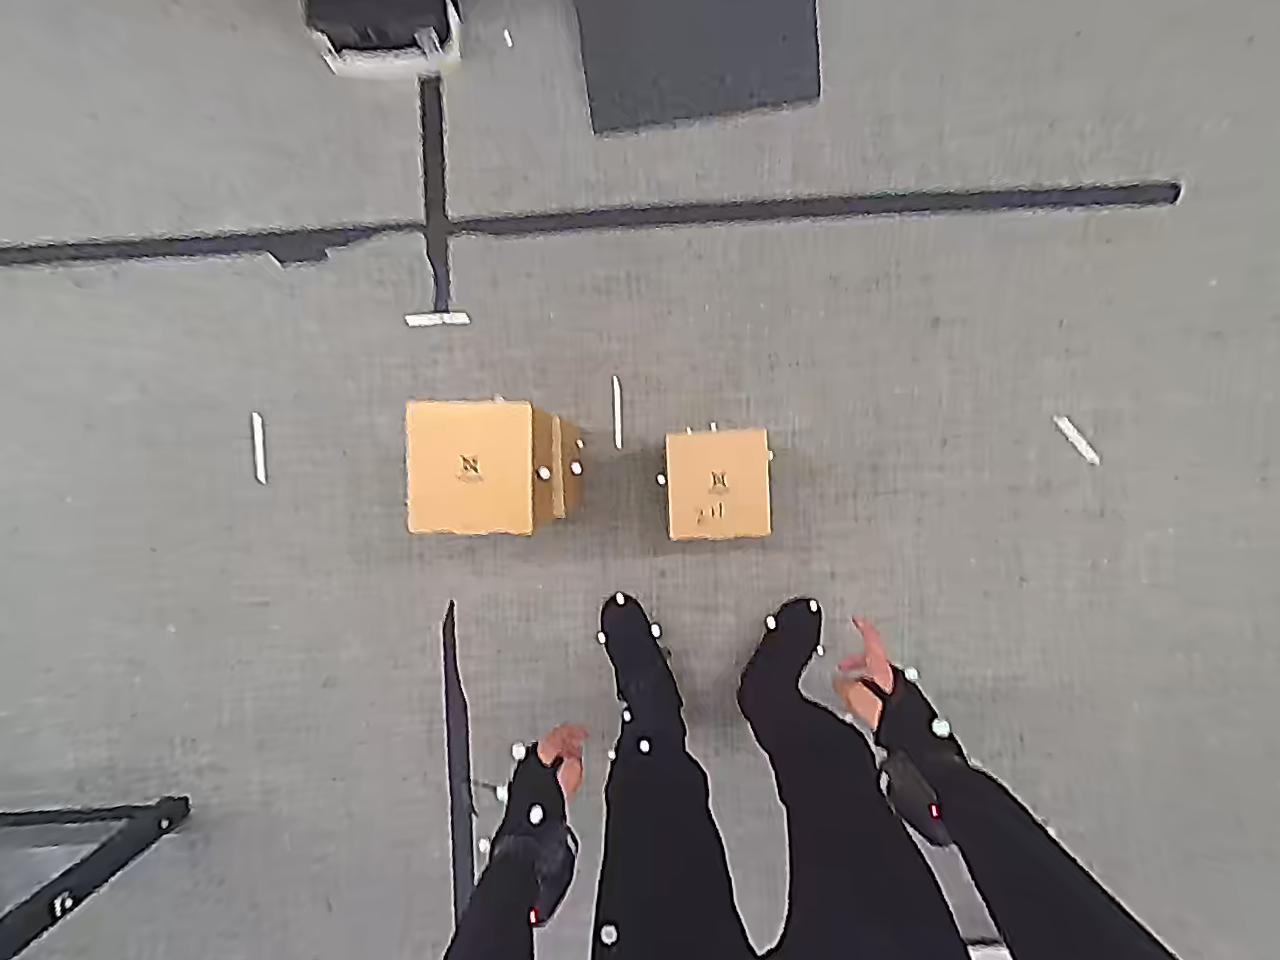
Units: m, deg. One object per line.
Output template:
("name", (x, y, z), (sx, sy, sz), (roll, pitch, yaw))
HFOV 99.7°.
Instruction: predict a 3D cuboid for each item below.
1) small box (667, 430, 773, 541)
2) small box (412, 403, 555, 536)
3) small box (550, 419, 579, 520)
("small box", (0.133, 0.007, 0.953), (0.168, 0.176, 0.179), (-3, 93, 2))
("small box", (-0.219, -0.017, 0.791), (0.168, 0.176, 0.179), (0, 93, 0))
("small box", (-0.207, -0.017, 0.954), (0.179, 0.176, 0.168), (-2, 92, 0))
